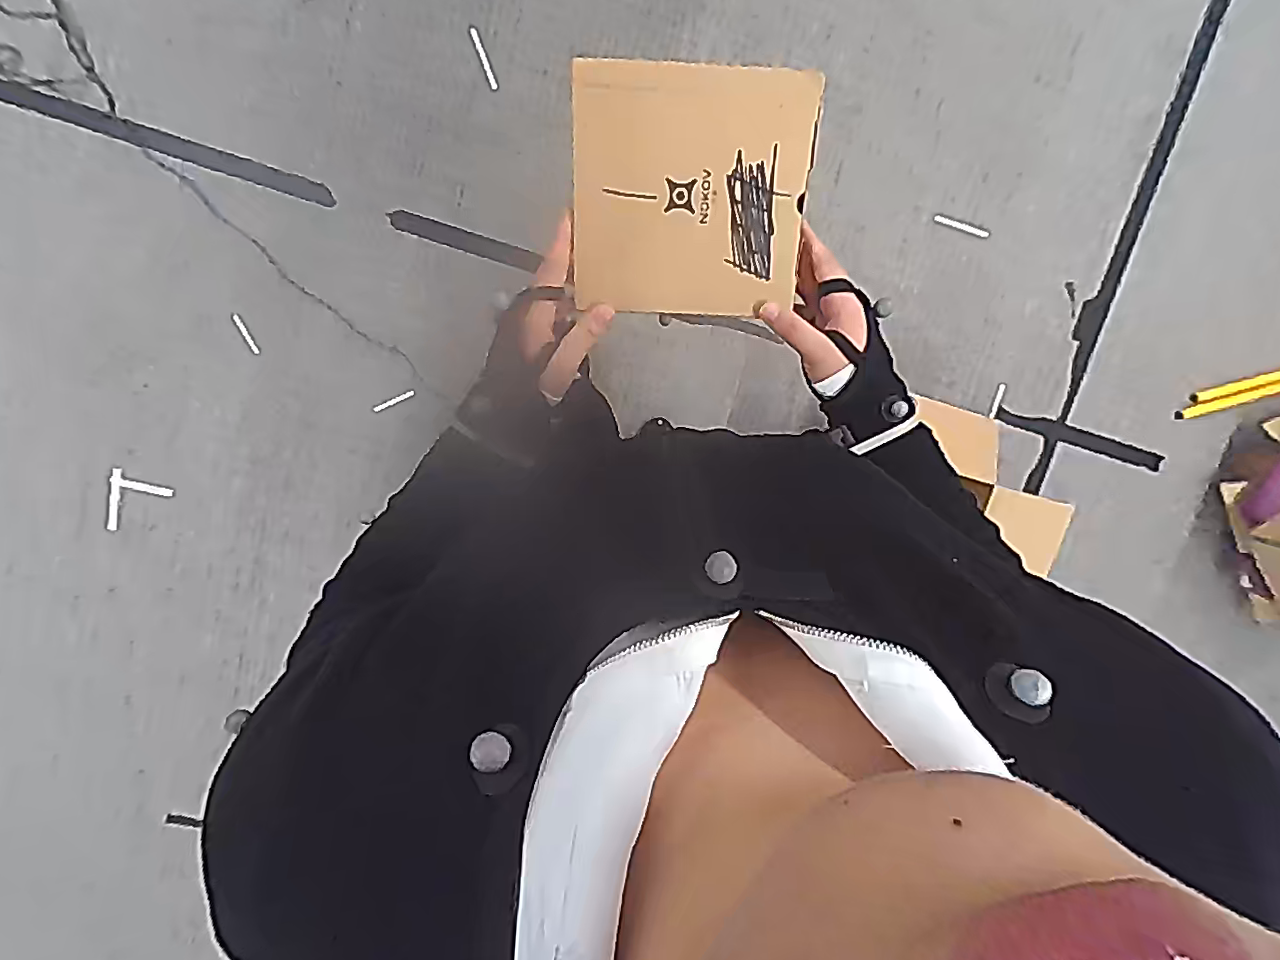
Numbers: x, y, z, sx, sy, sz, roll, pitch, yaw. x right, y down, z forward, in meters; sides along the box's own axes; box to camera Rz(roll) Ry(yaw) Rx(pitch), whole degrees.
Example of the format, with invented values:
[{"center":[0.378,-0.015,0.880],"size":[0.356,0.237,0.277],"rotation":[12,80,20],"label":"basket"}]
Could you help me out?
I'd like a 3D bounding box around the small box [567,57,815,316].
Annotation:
[{"center":[0.030,-0.240,0.475],"size":[0.179,0.176,0.168],"rotation":[1,111,-2],"label":"small box"}]
